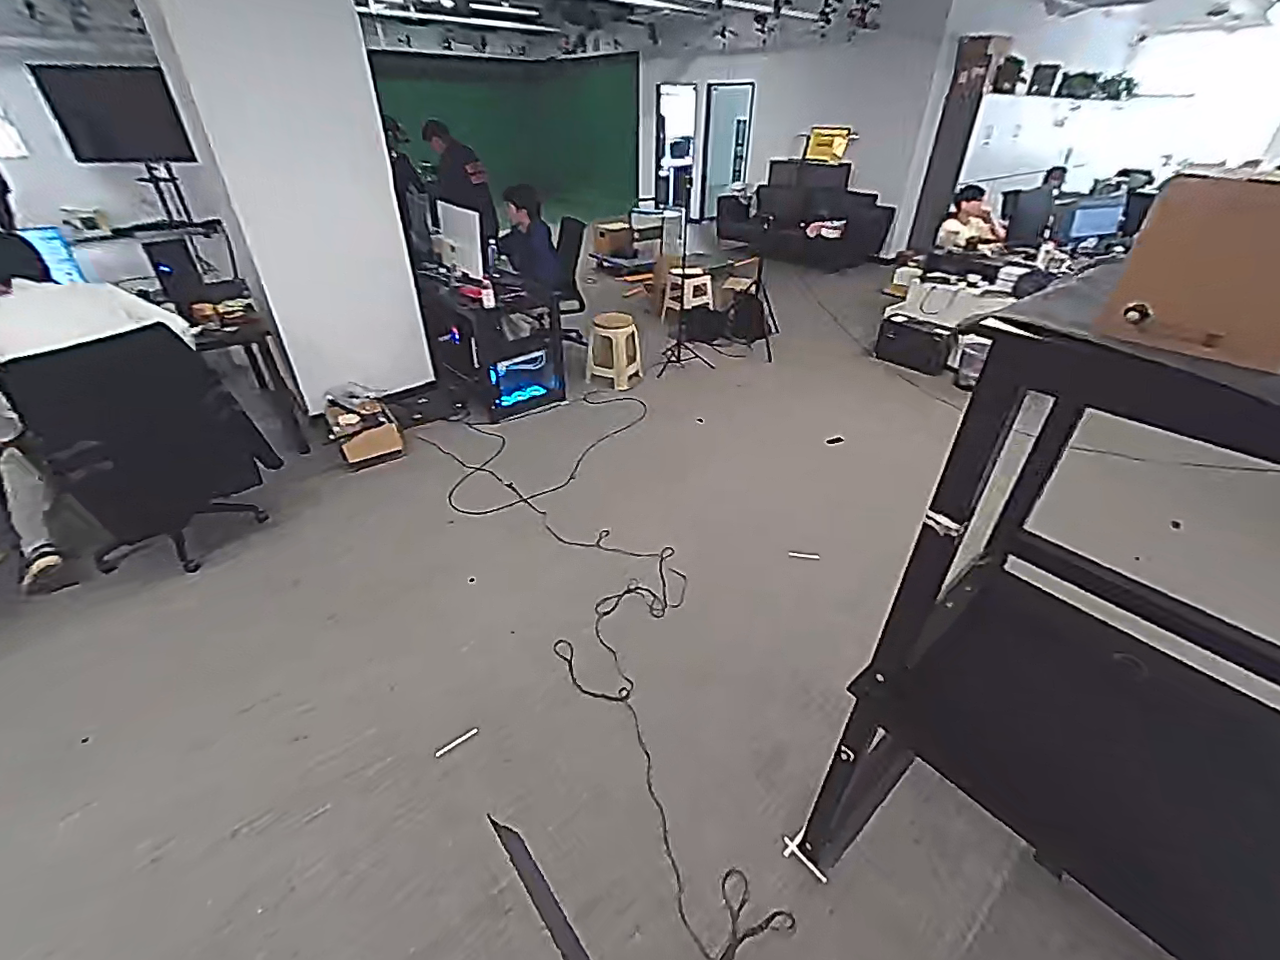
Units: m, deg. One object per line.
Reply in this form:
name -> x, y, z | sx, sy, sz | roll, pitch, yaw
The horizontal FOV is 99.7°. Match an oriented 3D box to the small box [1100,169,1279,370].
small box -> 0.650, -0.234, 0.589 | 0.179, 0.176, 0.168 | -26, 43, -34
